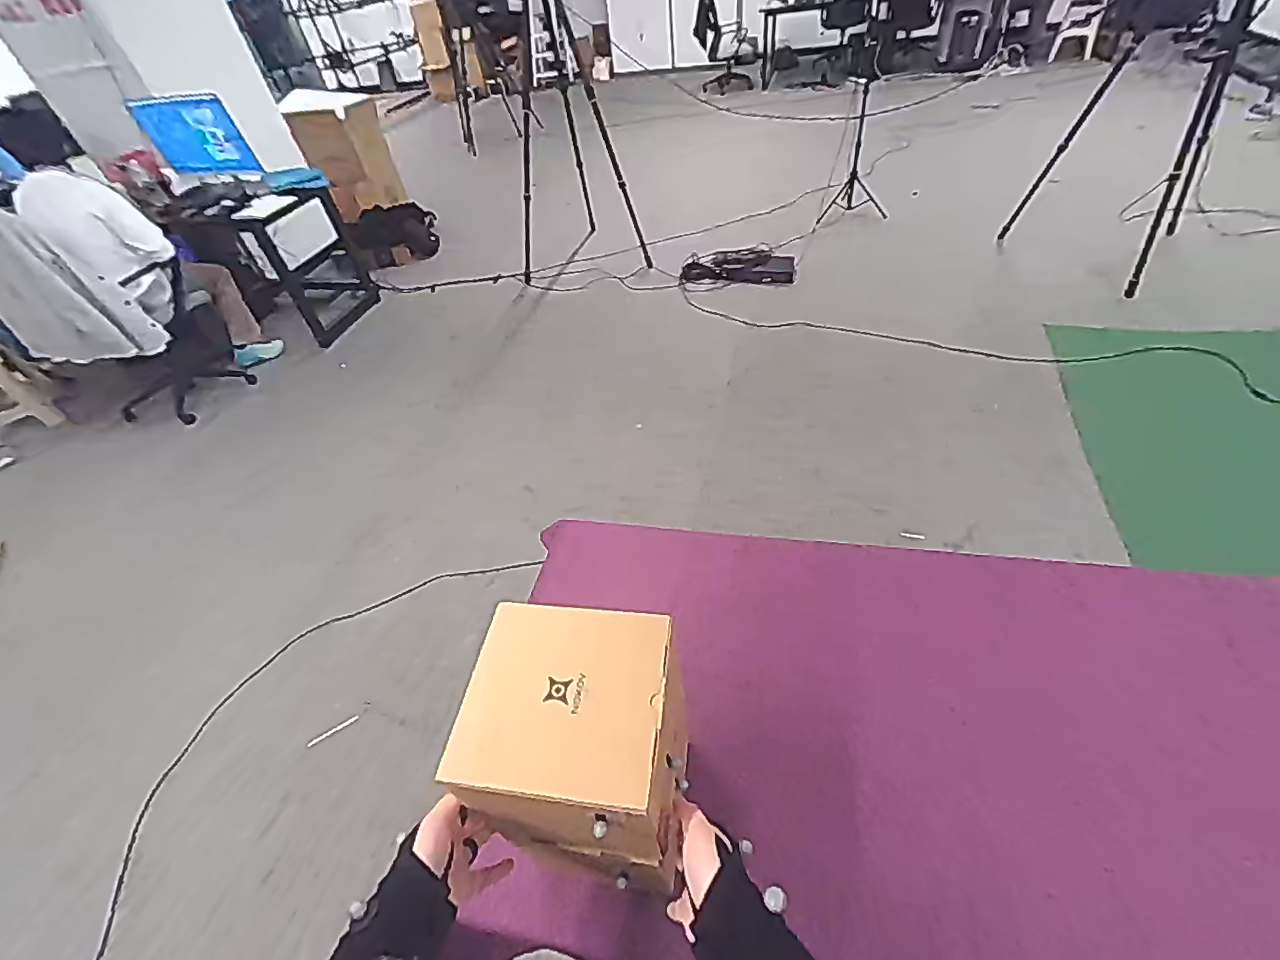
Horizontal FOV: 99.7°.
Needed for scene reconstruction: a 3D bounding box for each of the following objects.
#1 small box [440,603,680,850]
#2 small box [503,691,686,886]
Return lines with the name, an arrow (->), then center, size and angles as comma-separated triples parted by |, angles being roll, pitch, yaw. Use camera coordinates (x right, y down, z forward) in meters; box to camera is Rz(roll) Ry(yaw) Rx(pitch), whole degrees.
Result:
small box -> -0.058, 0.240, 0.529 | 0.179, 0.176, 0.168 | 3, 46, 9
small box -> -0.037, 0.355, 0.642 | 0.168, 0.176, 0.179 | 4, 46, 11
